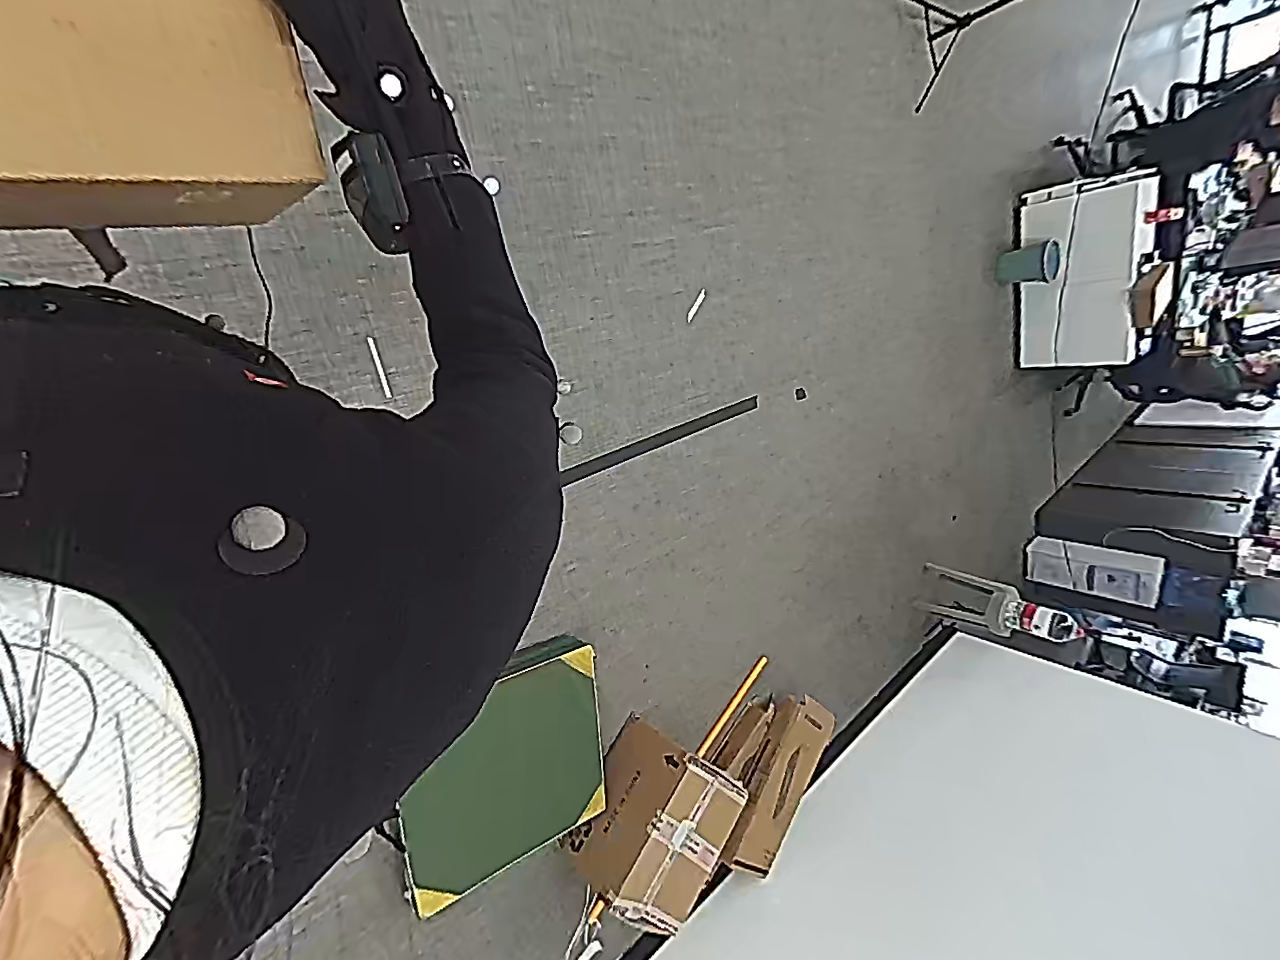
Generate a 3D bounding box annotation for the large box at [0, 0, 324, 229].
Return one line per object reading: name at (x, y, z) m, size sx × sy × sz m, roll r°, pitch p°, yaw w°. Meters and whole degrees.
large box at (-0.485, -0.330, 0.322) m, size 0.408 × 0.320 × 0.320 m, roll -22°, pitch 120°, yaw -35°
